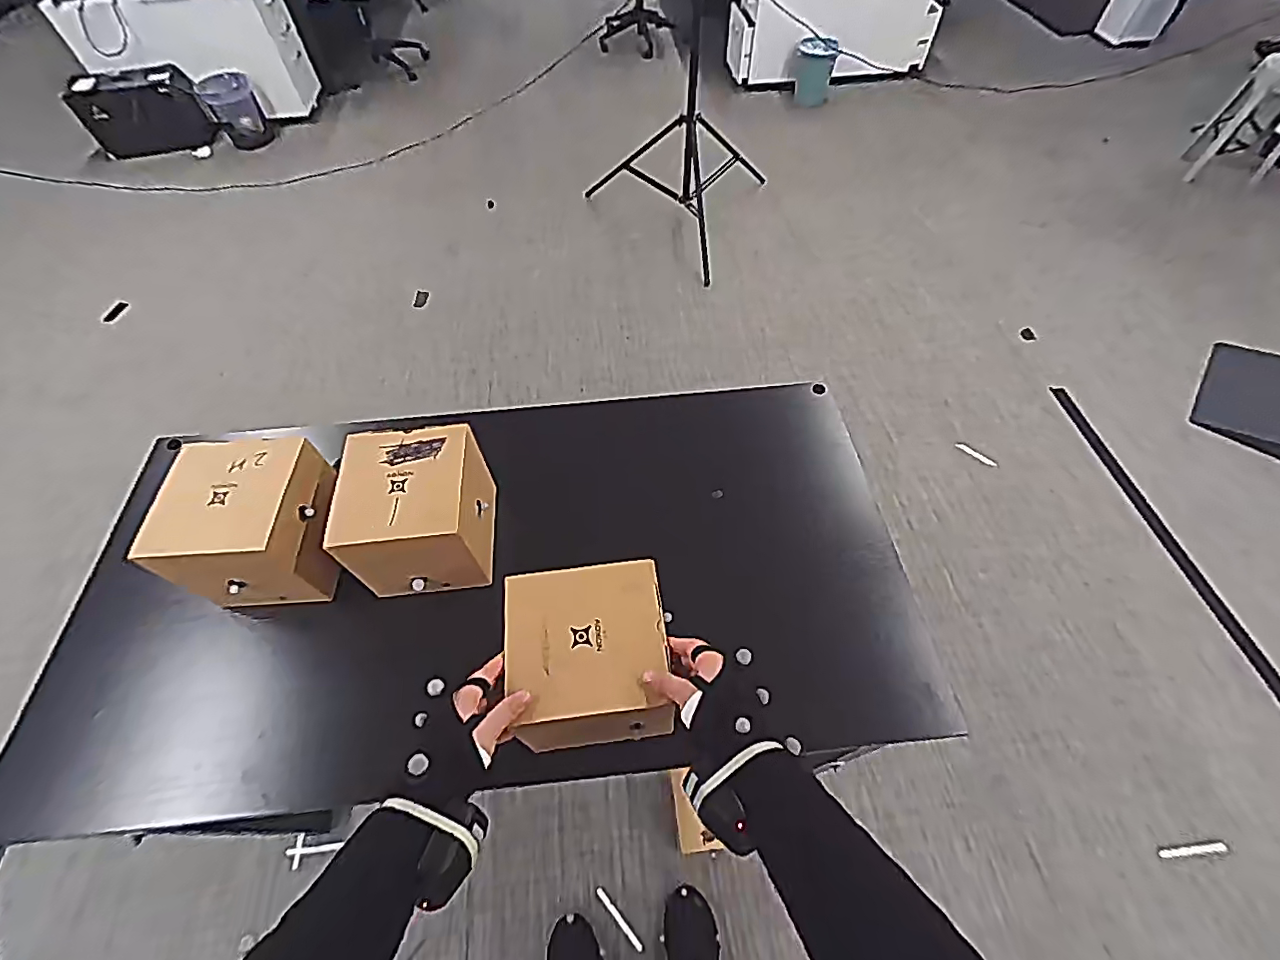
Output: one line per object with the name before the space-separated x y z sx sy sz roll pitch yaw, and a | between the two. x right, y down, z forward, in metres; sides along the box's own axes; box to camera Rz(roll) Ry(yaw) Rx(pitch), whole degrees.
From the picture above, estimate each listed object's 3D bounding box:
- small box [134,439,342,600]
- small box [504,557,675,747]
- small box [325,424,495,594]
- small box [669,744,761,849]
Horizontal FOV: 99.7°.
small box | -0.533 0.063 0.764 0.168 0.176 0.179 -3 56 -2
small box | -0.058 0.212 0.653 0.179 0.176 0.168 -8 55 -2
small box | -0.309 0.045 0.771 0.168 0.176 0.179 -6 57 -2
small box | 0.155 0.702 1.194 0.168 0.176 0.179 -7 56 -2
